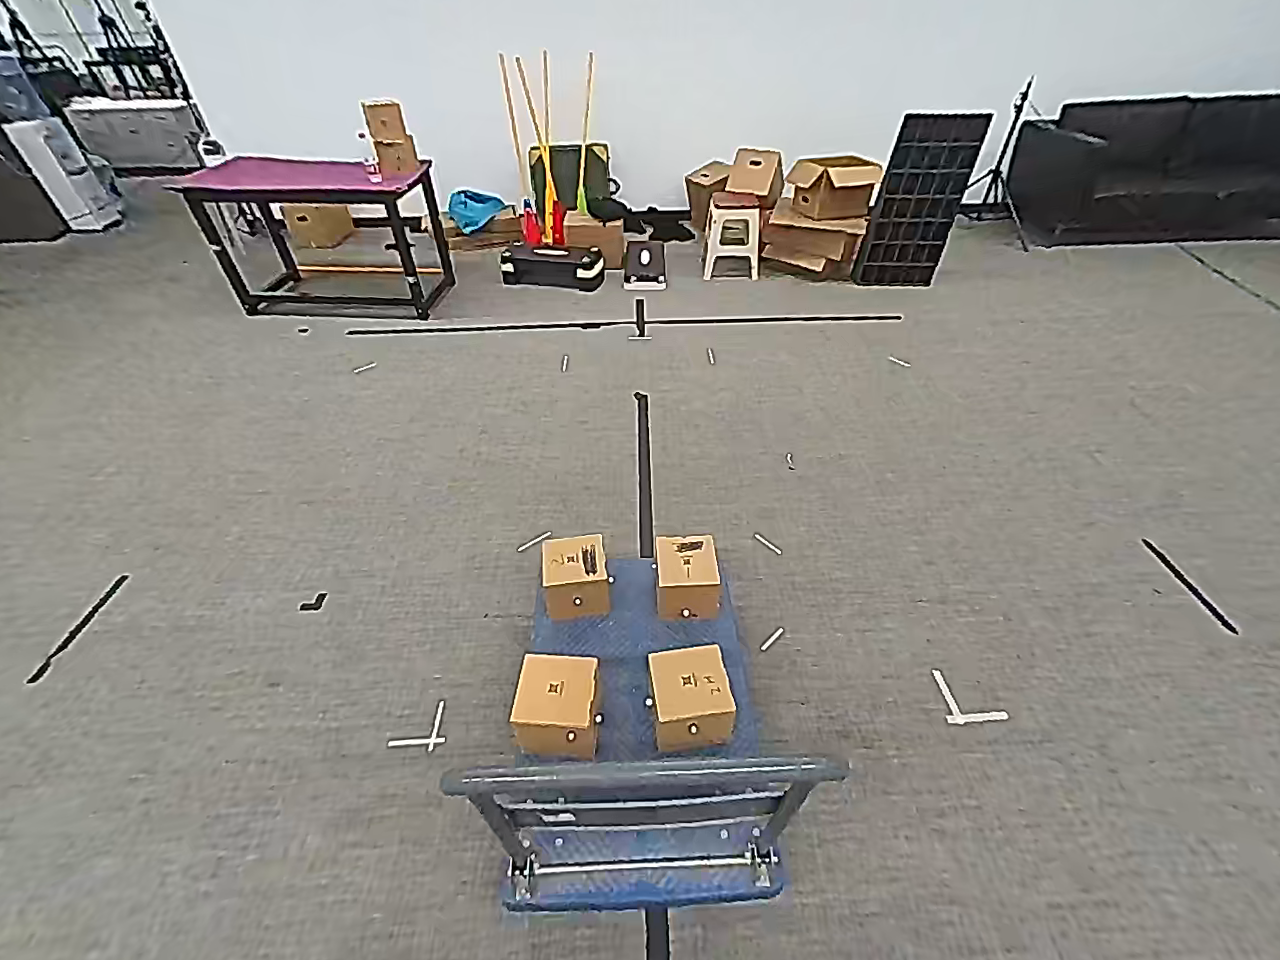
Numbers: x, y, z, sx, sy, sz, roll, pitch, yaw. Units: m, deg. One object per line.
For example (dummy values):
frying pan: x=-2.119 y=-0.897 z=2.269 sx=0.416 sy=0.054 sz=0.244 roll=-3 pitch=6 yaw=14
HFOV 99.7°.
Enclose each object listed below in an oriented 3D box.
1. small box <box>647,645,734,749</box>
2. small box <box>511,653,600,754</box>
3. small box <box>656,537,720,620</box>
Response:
small box: x=0.115 y=0.522 z=1.293 sx=0.179 sy=0.176 sz=0.168 roll=-6 pitch=42 yaw=-5
small box: x=-0.192 y=0.533 z=1.286 sx=0.179 sy=0.176 sz=0.168 roll=3 pitch=42 yaw=2
small box: x=0.131 y=0.283 z=1.557 sx=0.168 sy=0.176 sz=0.179 roll=-2 pitch=43 yaw=-1
